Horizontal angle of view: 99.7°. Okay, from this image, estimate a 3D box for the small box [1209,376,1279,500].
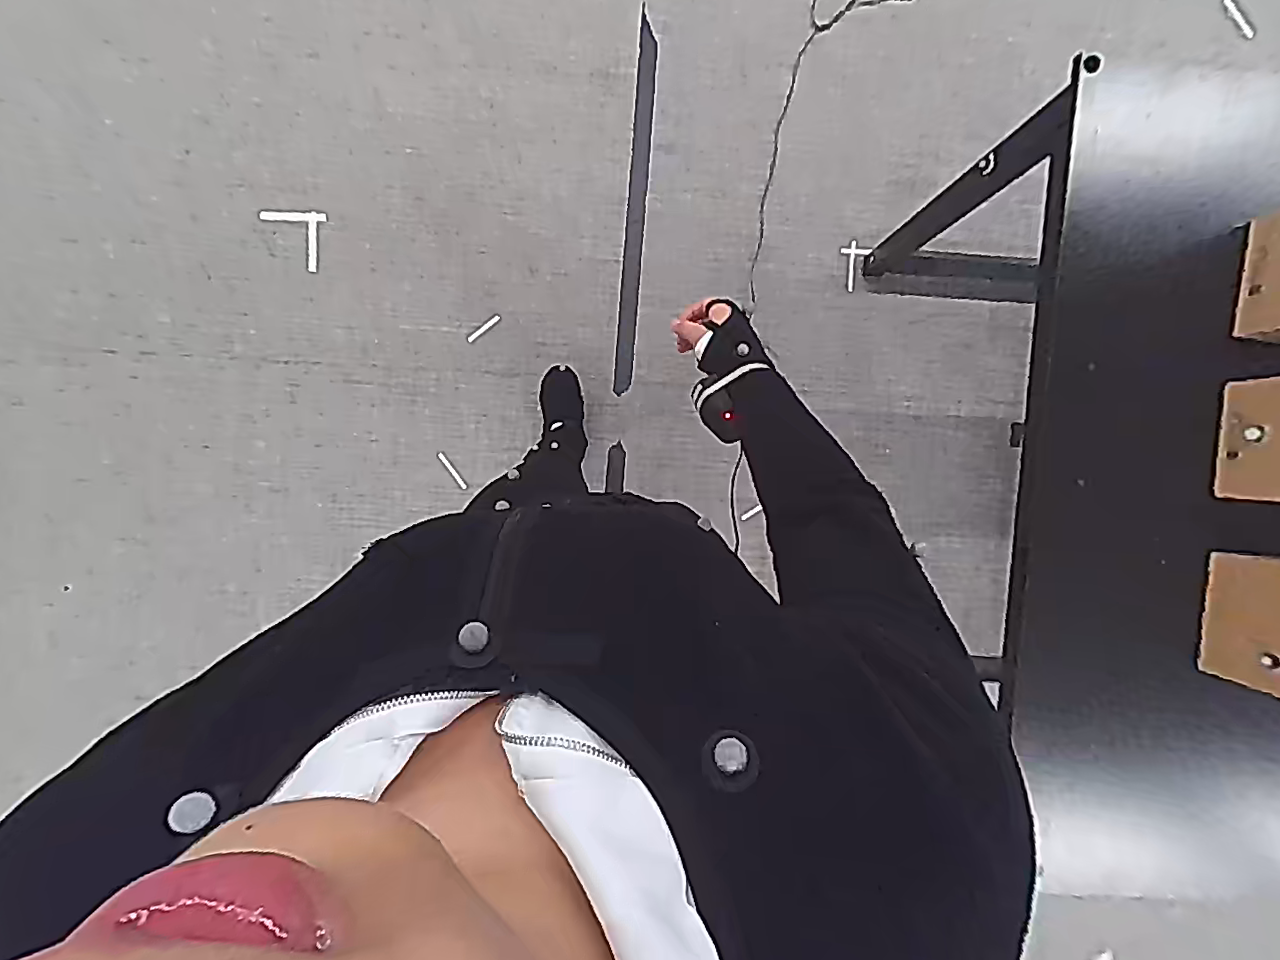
[{"bbox_3d":[0.916,-0.053,0.699,0.179,0.176,0.168,3,92,0],"label":"small box"}]

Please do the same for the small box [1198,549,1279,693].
[{"bbox_3d":[0.900,0.195,0.711,0.168,0.176,0.179,4,91,-3],"label":"small box"}]

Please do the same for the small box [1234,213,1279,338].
[{"bbox_3d":[0.938,-0.276,0.692,0.179,0.176,0.168,7,92,-2],"label":"small box"}]
